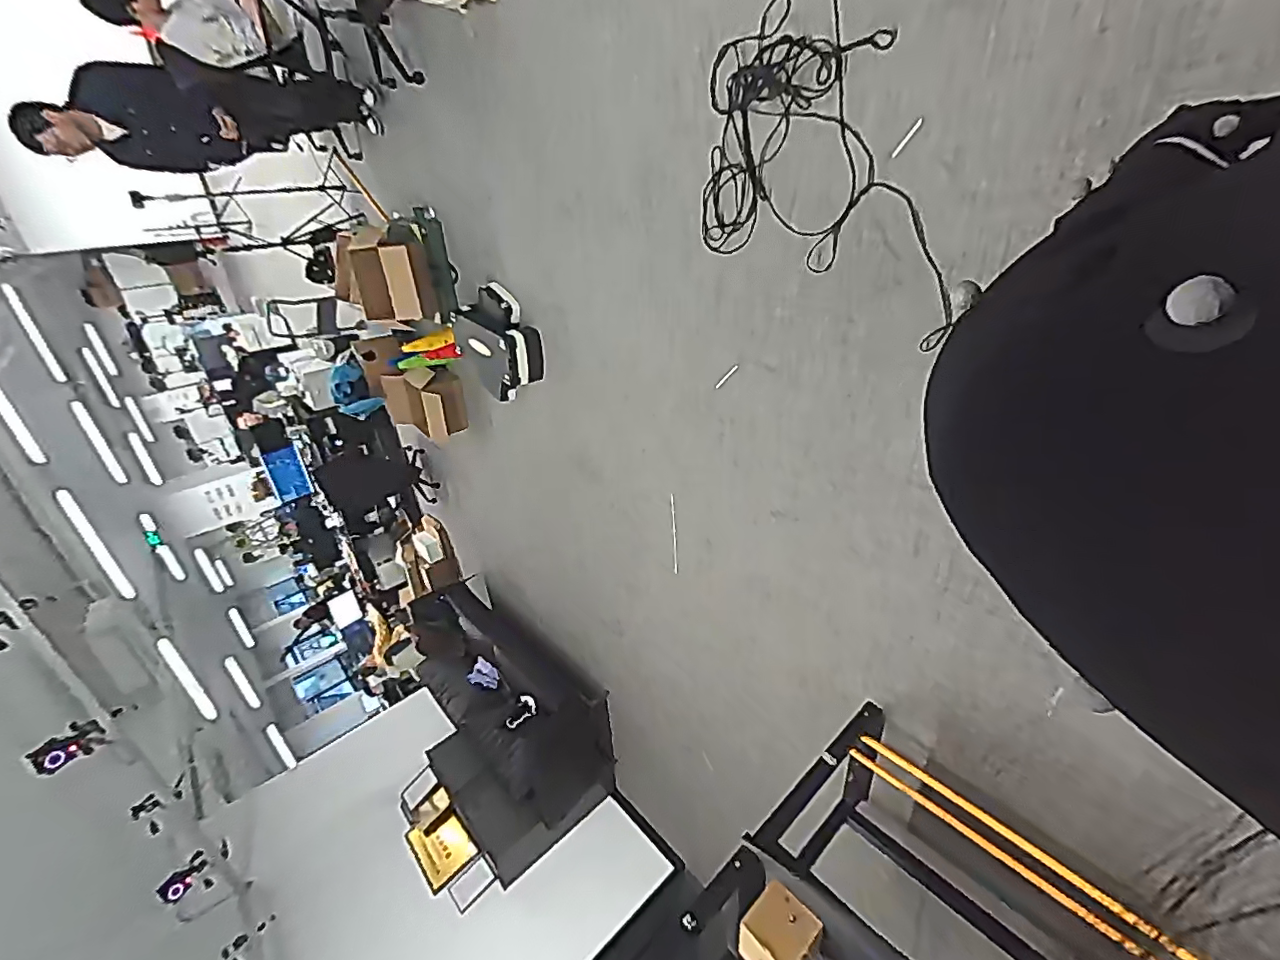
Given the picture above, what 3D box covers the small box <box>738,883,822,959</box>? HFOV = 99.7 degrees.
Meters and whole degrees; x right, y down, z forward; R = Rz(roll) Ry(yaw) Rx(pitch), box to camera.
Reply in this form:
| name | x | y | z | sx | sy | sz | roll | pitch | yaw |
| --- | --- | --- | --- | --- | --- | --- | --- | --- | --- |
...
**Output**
| name | x | y | z | sx | sy | sz | roll | pitch | yaw |
| --- | --- | --- | --- | --- | --- | --- | --- | --- | --- |
| small box | 0.397 | 1.311 | 1.533 | 0.168 | 0.176 | 0.179 | 25 | 130 | 43 |
